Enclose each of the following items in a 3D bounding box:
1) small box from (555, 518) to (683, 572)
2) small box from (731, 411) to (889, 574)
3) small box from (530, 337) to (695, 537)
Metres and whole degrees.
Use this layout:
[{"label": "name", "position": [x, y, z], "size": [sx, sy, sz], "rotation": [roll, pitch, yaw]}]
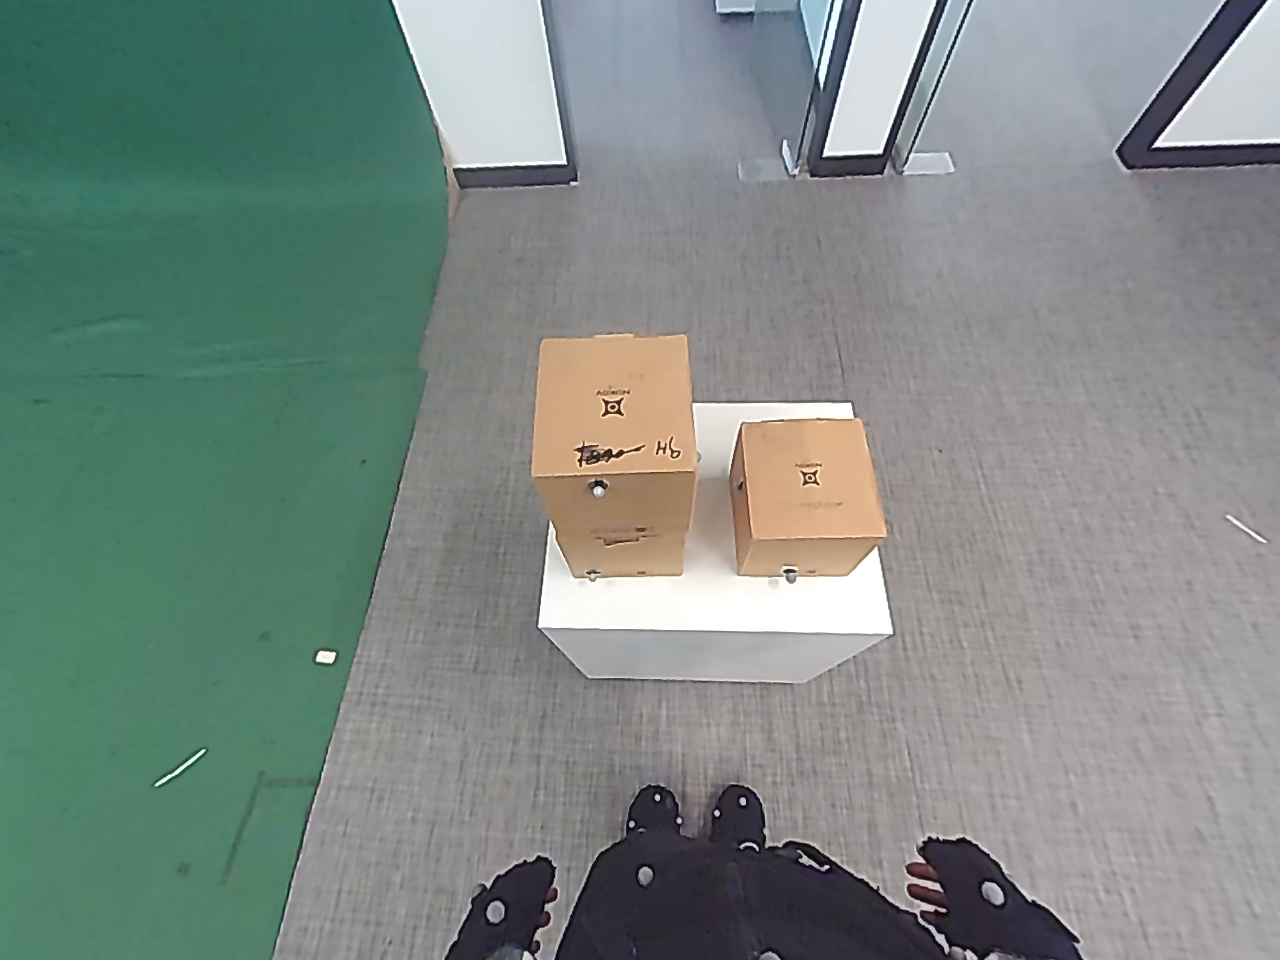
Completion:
[{"label": "small box", "position": [-0.023, 0.030, 0.785], "size": [0.168, 0.176, 0.179], "rotation": [-2, 62, 2]}, {"label": "small box", "position": [0.222, 0.023, 0.760], "size": [0.168, 0.176, 0.179], "rotation": [-3, 65, 3]}, {"label": "small box", "position": [-0.026, -0.045, 0.641], "size": [0.168, 0.176, 0.179], "rotation": [-2, 62, 2]}]
